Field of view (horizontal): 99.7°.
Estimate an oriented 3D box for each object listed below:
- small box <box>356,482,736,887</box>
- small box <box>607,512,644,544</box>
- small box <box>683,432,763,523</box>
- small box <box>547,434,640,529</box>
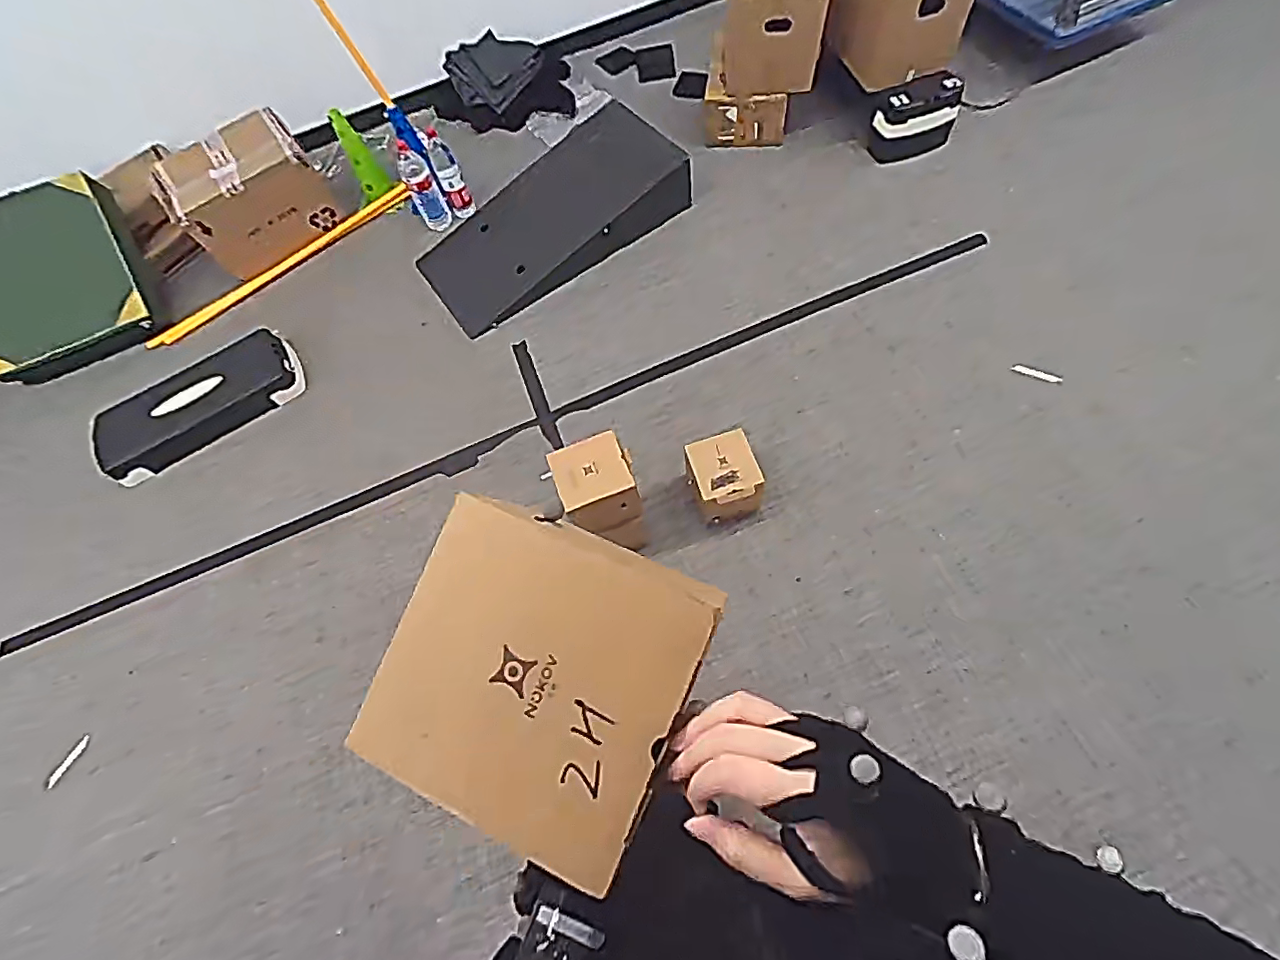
[{"bbox_3d":[-0.044,0.119,0.380,0.179,0.176,0.168,22,85,13],"label":"small box"},{"bbox_3d":[-0.092,0.104,1.462,0.179,0.176,0.168,-17,63,-2],"label":"small box"},{"bbox_3d":[0.224,0.002,1.472,0.168,0.176,0.179,-17,63,-1],"label":"small box"},{"bbox_3d":[-0.106,0.019,1.322,0.179,0.176,0.168,-21,63,-3],"label":"small box"}]
